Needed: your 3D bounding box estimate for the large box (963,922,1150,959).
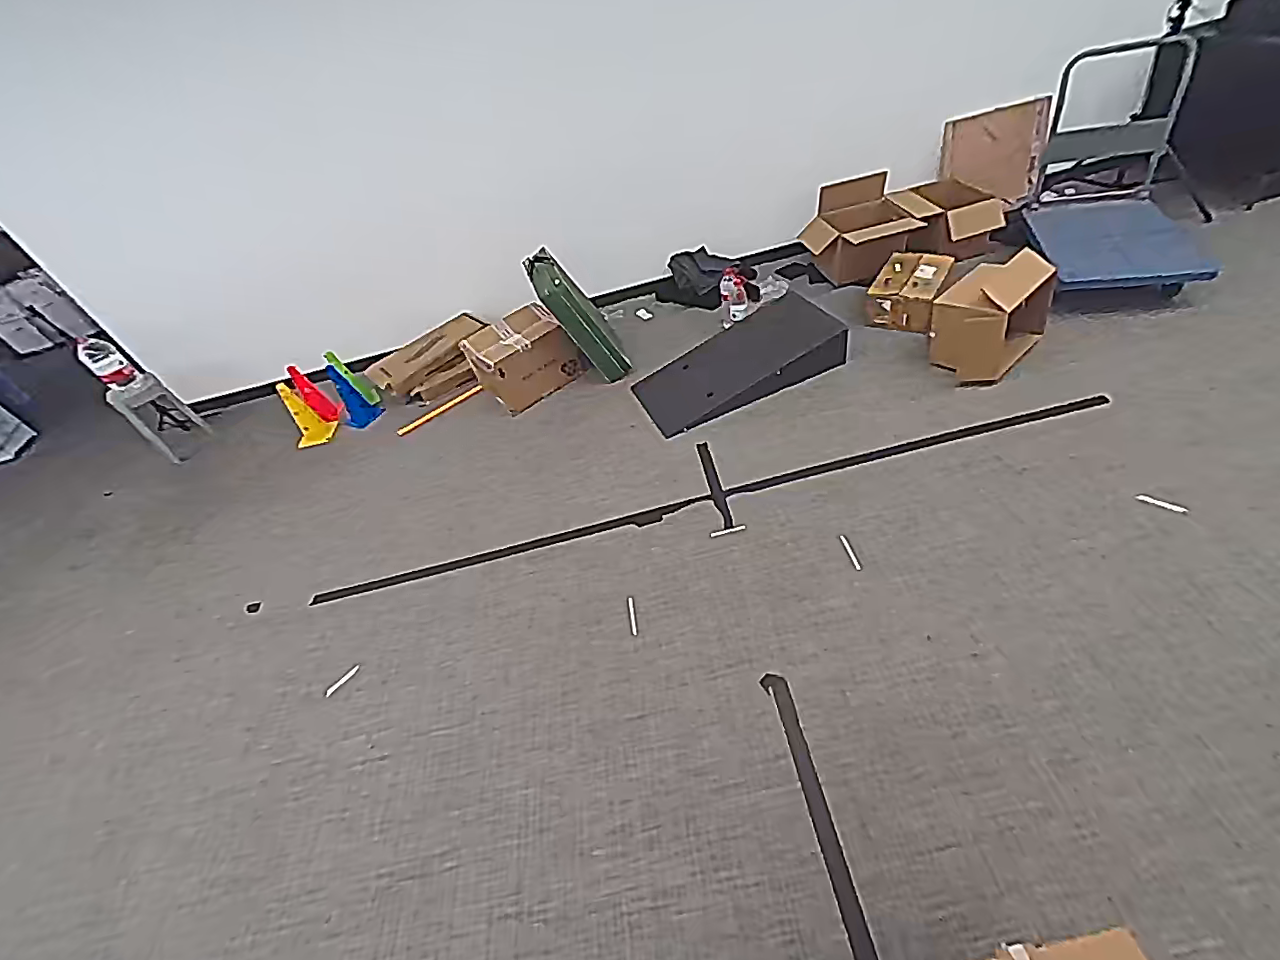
[{"bbox_3d":[0.648,0.930,0.773,0.320,0.320,0.408,-20,45,6],"label":"large box"}]
